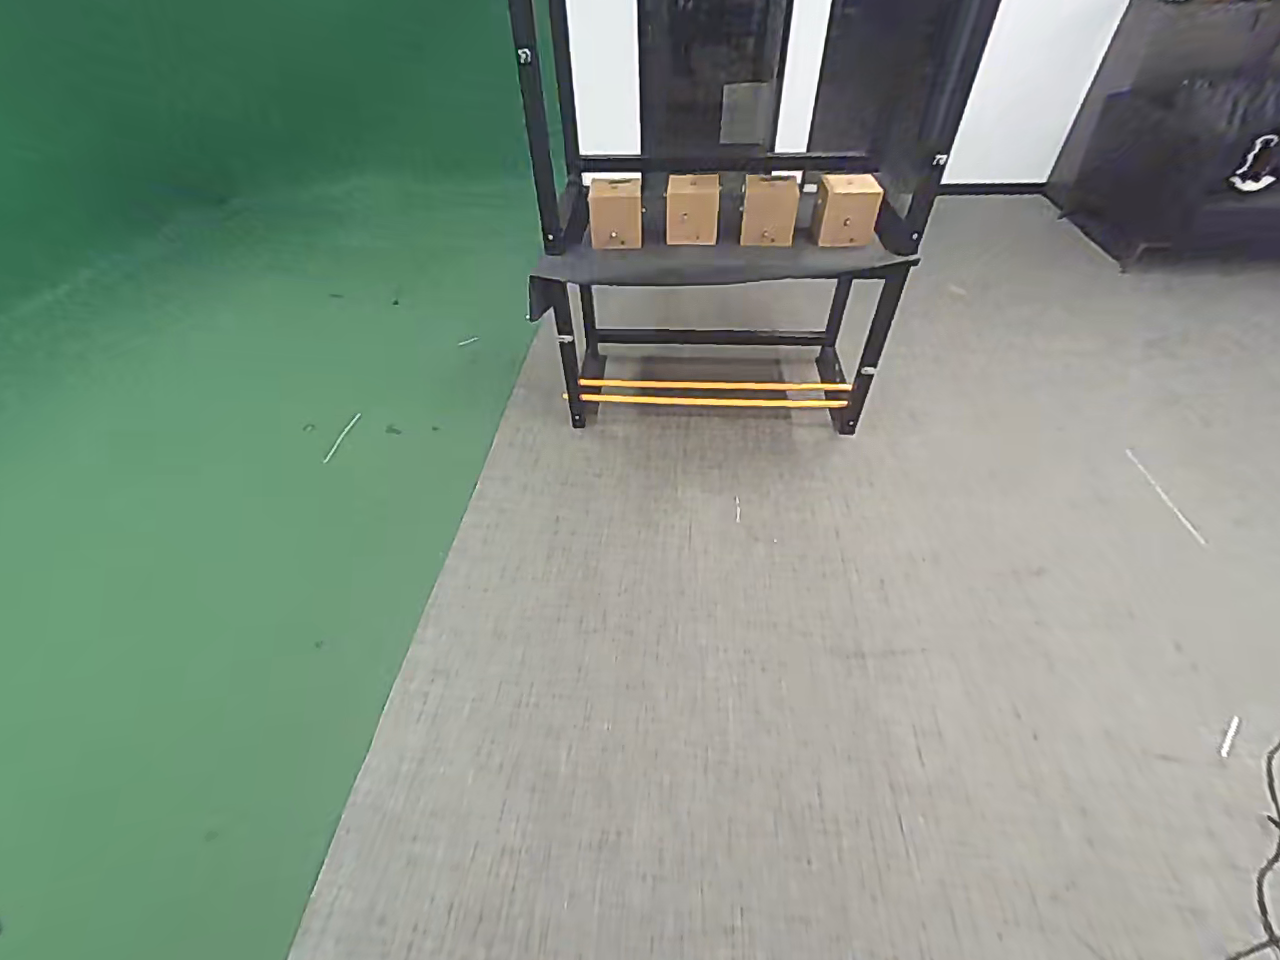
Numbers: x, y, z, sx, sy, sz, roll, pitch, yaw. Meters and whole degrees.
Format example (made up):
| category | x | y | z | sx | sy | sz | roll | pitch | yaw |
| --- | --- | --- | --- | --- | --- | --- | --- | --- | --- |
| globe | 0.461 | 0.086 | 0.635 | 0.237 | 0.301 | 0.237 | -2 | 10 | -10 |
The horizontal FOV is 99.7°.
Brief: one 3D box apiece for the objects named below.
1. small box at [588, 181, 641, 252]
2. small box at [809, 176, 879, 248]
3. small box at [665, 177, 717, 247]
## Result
| category | x | y | z | sx | sy | sz | roll | pitch | yaw |
| --- | --- | --- | --- | --- | --- | --- | --- | --- | --- |
| small box | -0.082 | -0.883 | 1.810 | 0.168 | 0.176 | 0.179 | -1 | 46 | 1 |
| small box | 0.662 | -0.877 | 1.772 | 0.168 | 0.176 | 0.179 | 2 | 45 | 3 |
| small box | 0.172 | -0.900 | 1.820 | 0.168 | 0.176 | 0.179 | 2 | 45 | 4 |
